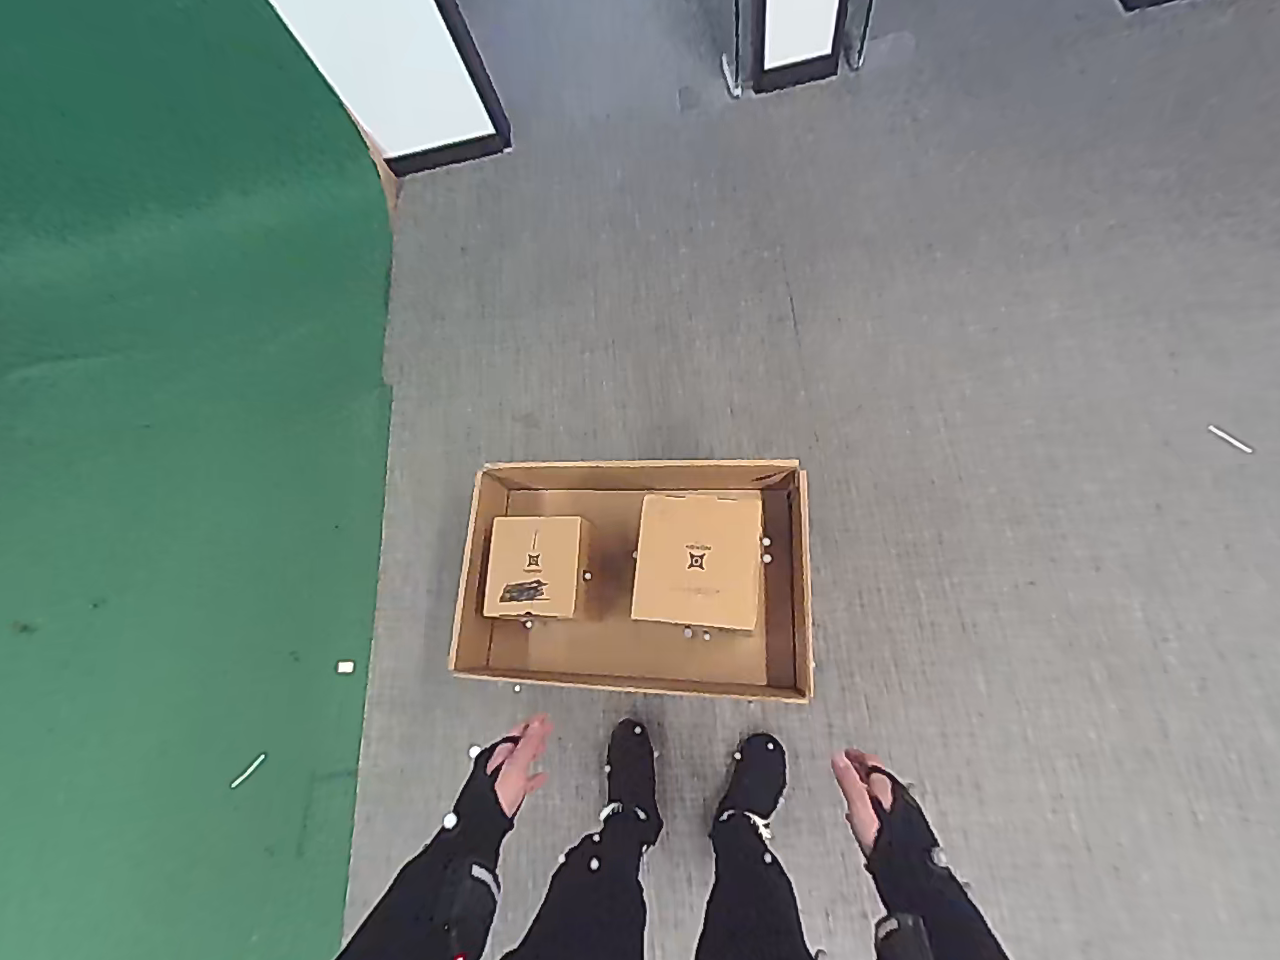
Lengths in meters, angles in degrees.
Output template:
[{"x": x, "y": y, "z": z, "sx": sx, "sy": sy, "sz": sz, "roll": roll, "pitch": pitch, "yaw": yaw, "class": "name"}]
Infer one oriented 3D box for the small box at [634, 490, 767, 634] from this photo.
[{"x": 0.094, "y": 0.126, "z": 0.795, "sx": 0.168, "sy": 0.176, "sz": 0.179, "roll": 3, "pitch": 74, "yaw": 12, "class": "small box"}]
